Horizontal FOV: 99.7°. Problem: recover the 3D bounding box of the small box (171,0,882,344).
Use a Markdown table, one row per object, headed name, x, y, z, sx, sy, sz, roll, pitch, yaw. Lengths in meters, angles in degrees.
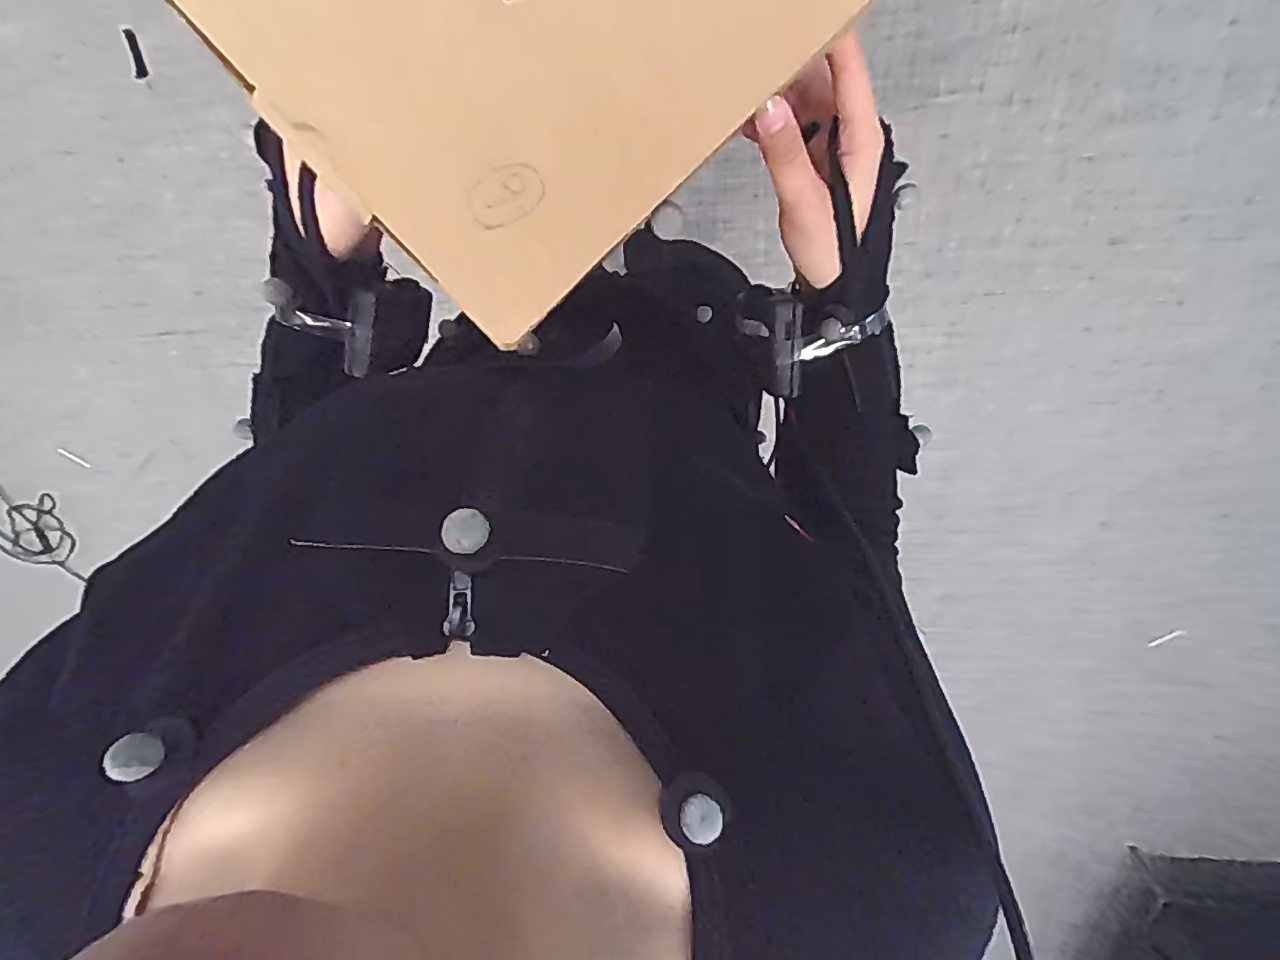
| name | x | y | z | sx | sy | sz | roll | pitch | yaw |
| --- | --- | --- | --- | --- | --- | --- | --- | --- | --- |
| small box | -0.030 | -0.187 | 0.215 | 0.179 | 0.176 | 0.168 | -37 | 109 | 21 |
